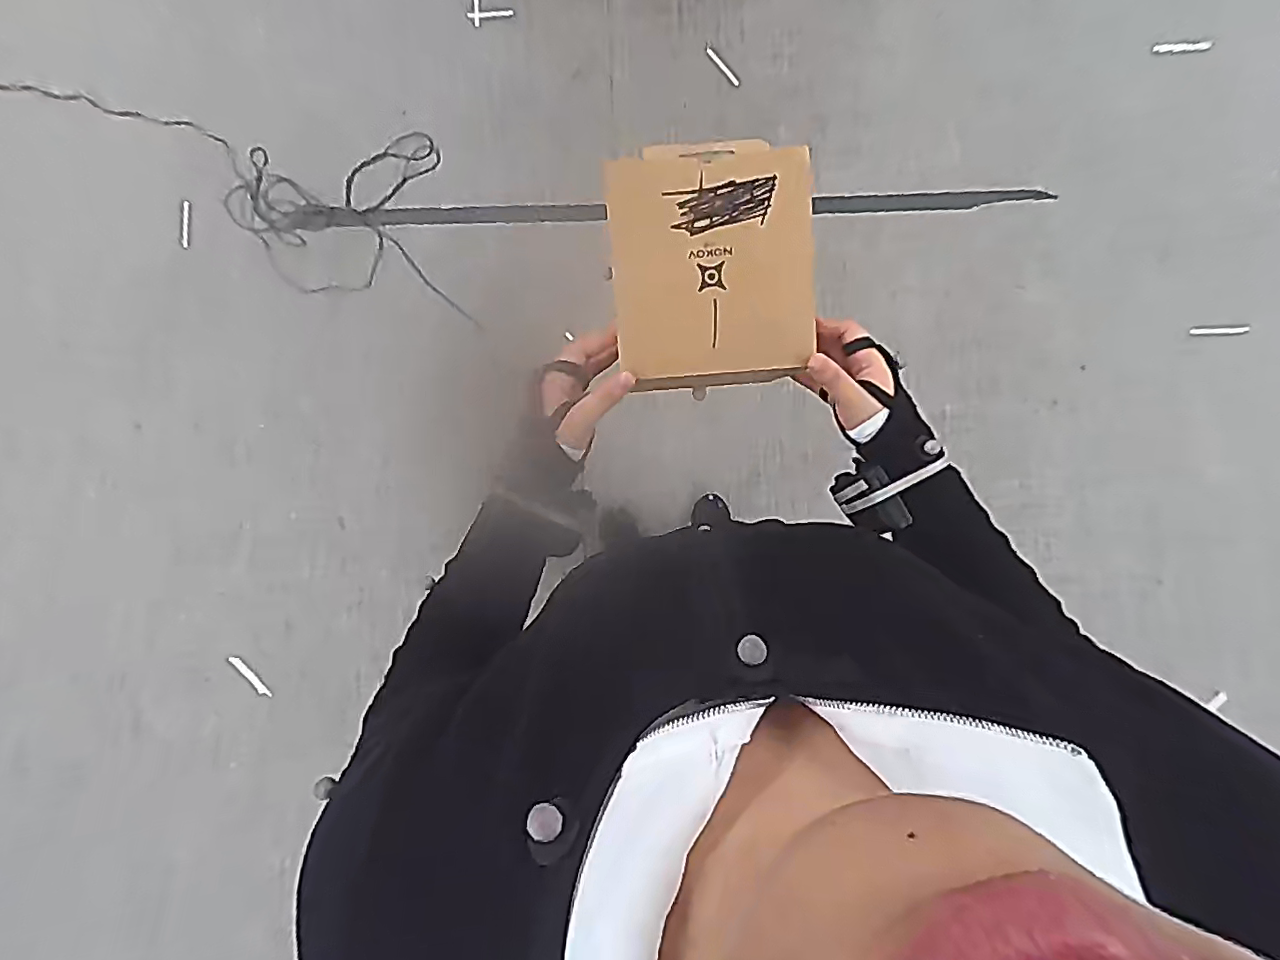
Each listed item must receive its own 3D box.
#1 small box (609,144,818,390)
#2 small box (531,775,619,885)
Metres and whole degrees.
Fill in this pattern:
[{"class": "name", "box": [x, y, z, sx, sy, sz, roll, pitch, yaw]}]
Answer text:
[{"class": "small box", "box": [0.060, -0.184, 0.517, 0.168, 0.176, 0.179, -4, 96, 2]}, {"class": "small box", "box": [-0.138, 0.767, 1.210, 0.179, 0.176, 0.168, -3, 89, 2]}]
